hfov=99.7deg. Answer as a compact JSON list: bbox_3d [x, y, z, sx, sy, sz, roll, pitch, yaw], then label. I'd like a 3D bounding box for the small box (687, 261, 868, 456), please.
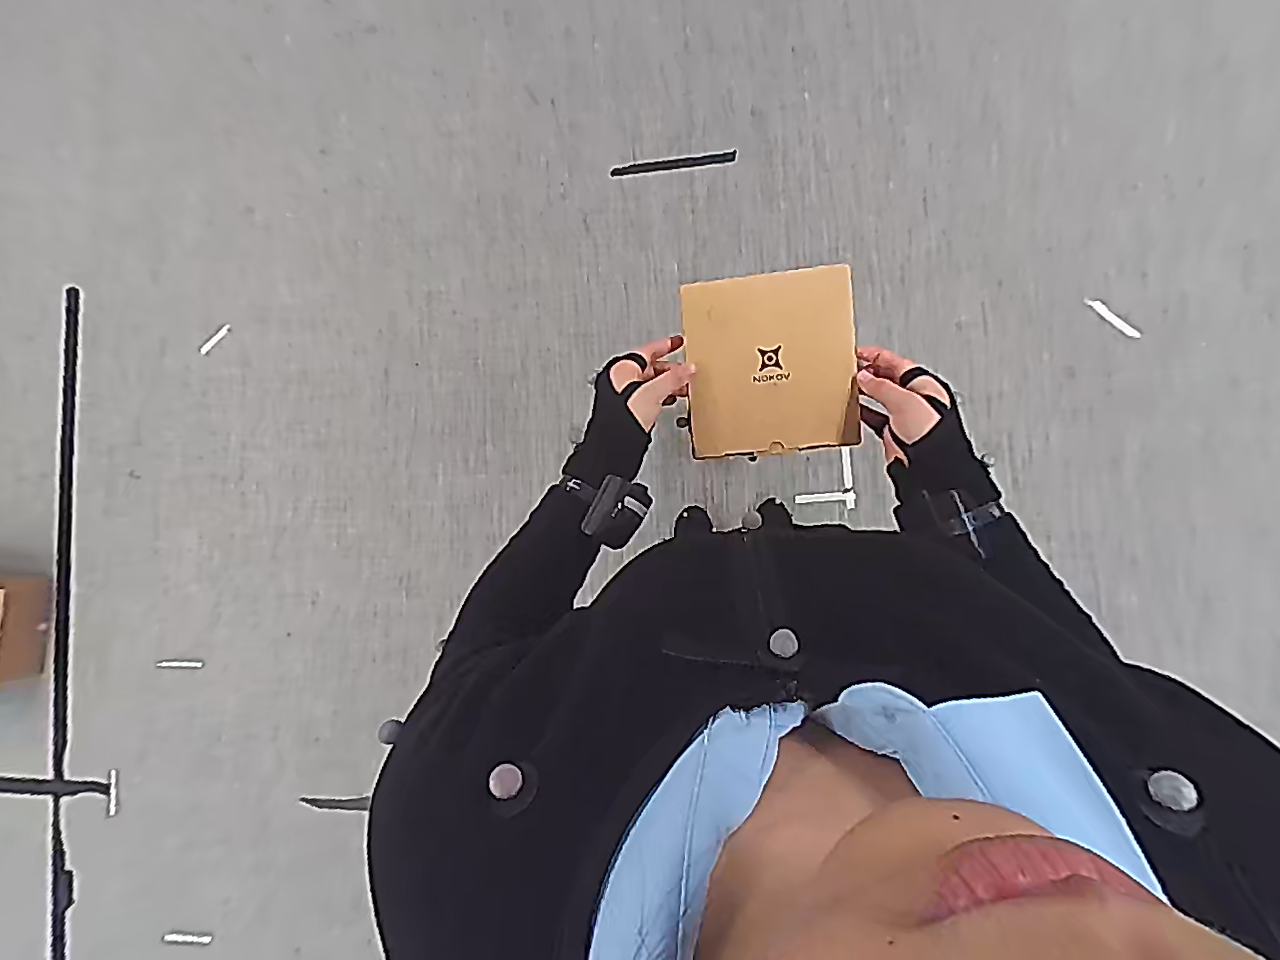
[{"bbox_3d":[0.140,-0.122,0.602,0.168,0.176,0.179,-5,95,6],"label":"small box"}]

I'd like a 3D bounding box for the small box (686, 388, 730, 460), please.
[{"bbox_3d":[0.220,-0.160,1.431,0.168,0.176,0.179,-14,86,6],"label":"small box"}]
